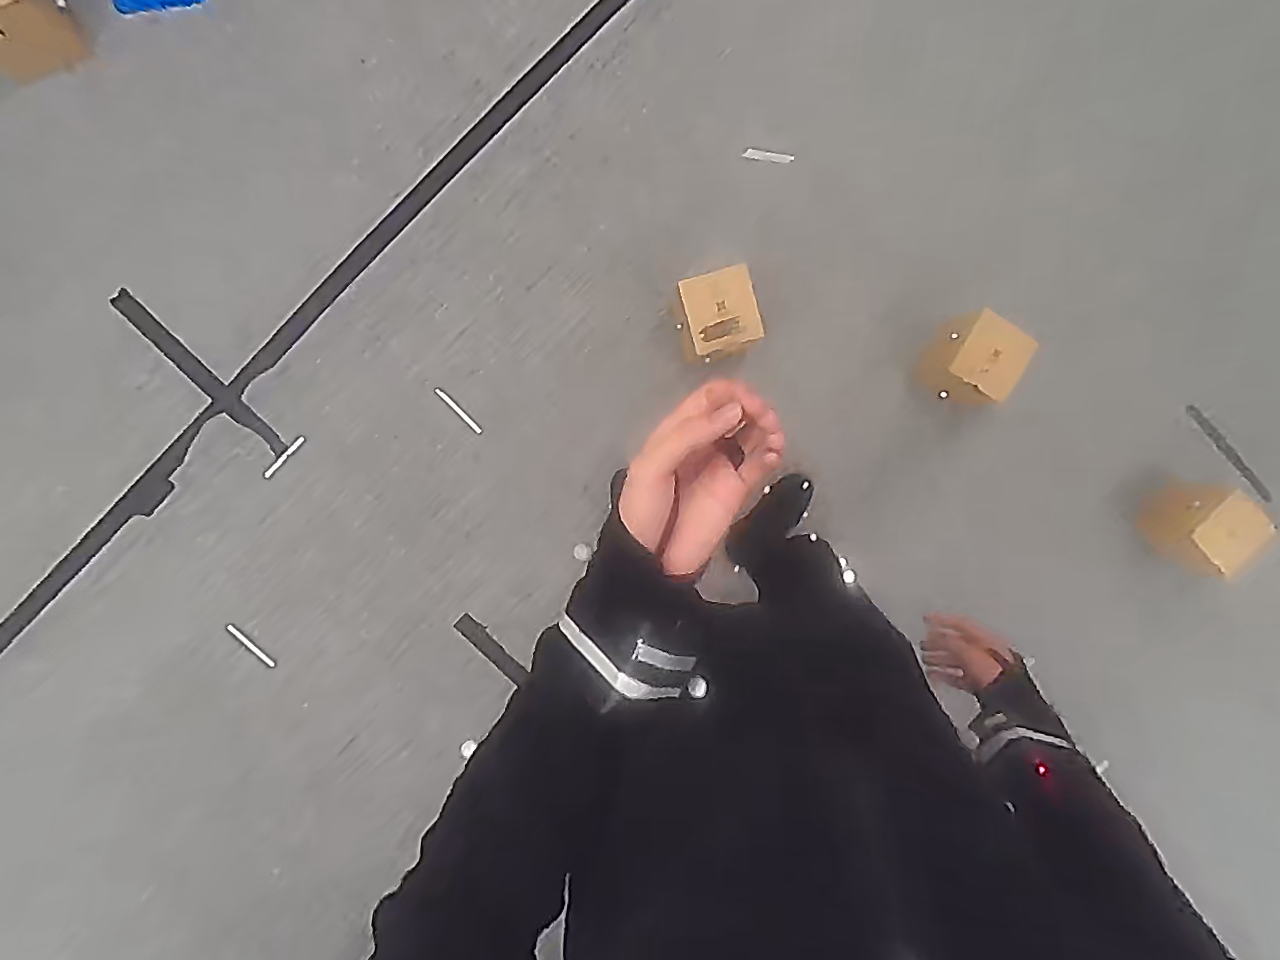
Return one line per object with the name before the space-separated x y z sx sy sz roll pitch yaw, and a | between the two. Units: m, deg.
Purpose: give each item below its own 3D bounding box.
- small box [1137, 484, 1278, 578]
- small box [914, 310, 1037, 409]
small box | 1.493 0.128 1.441 0.168 0.176 0.179 43 90 -5
small box | 0.835 -0.296 1.367 0.168 0.176 0.179 30 92 -5
